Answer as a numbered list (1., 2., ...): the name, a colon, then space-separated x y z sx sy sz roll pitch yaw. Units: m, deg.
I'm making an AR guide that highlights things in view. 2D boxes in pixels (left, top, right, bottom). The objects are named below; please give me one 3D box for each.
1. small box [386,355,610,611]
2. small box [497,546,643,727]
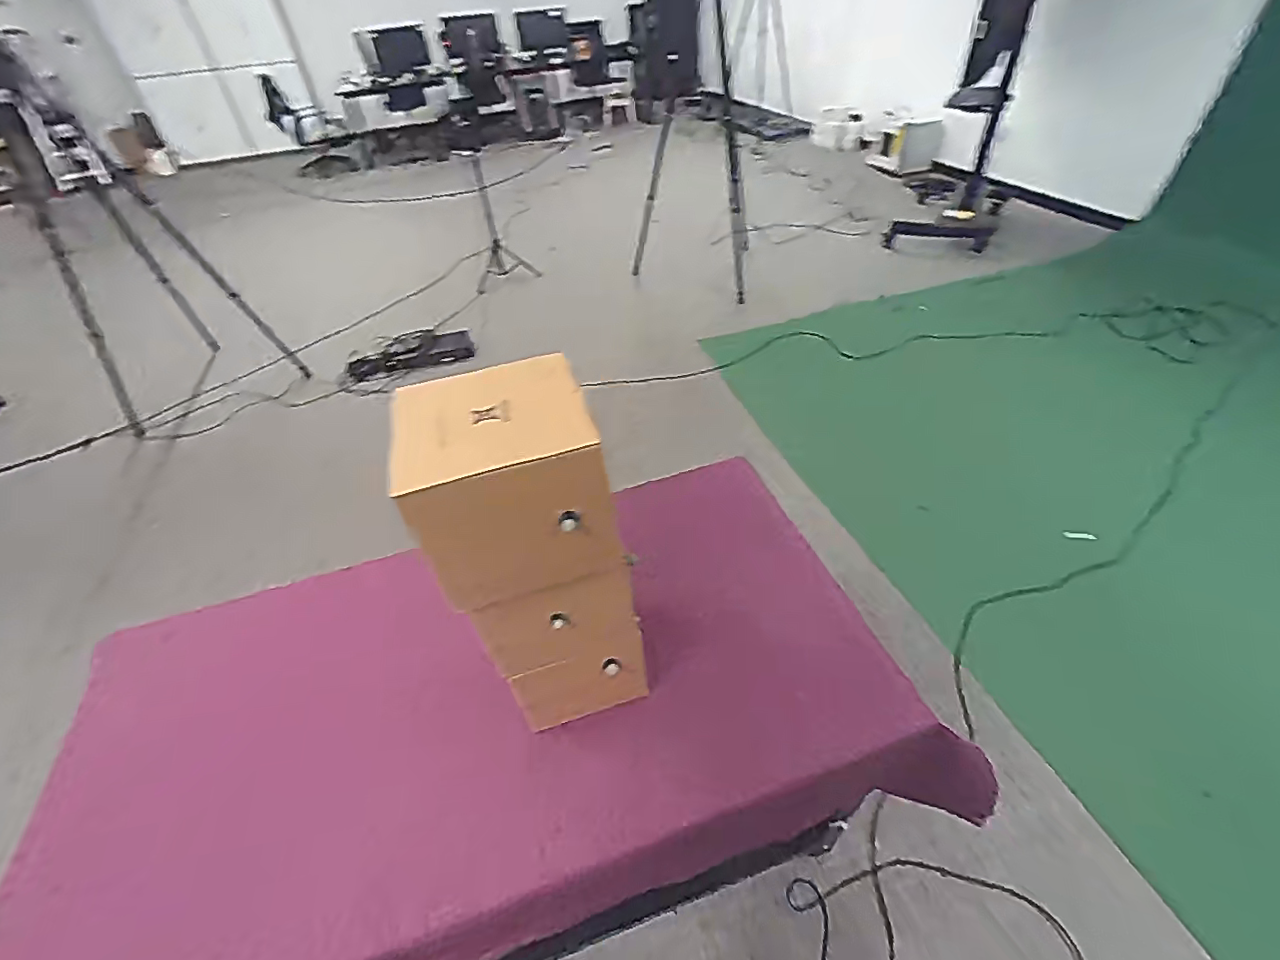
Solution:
1. small box: -0.134 0.003 0.549 0.179 0.176 0.168 -16 44 -9
2. small box: -0.098 0.227 0.786 0.179 0.176 0.168 -16 44 -9
